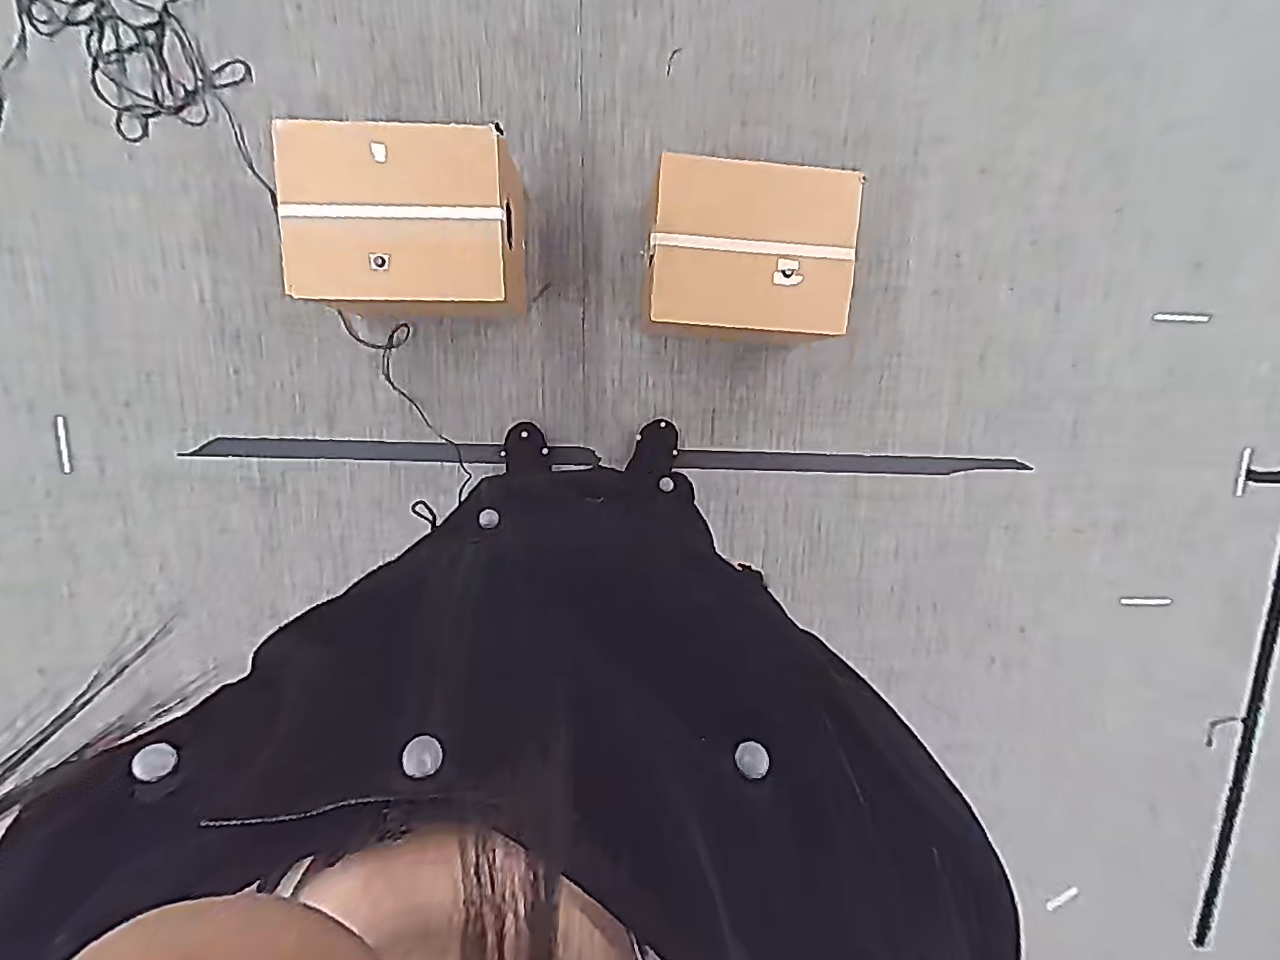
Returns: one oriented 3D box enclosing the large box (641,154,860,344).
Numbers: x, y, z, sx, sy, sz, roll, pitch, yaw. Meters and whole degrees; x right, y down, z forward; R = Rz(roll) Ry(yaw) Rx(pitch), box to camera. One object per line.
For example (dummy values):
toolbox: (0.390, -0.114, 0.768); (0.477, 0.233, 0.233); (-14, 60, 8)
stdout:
large box: (0.218, -0.488, 1.220); (0.408, 0.320, 0.320); (3, 99, -5)
